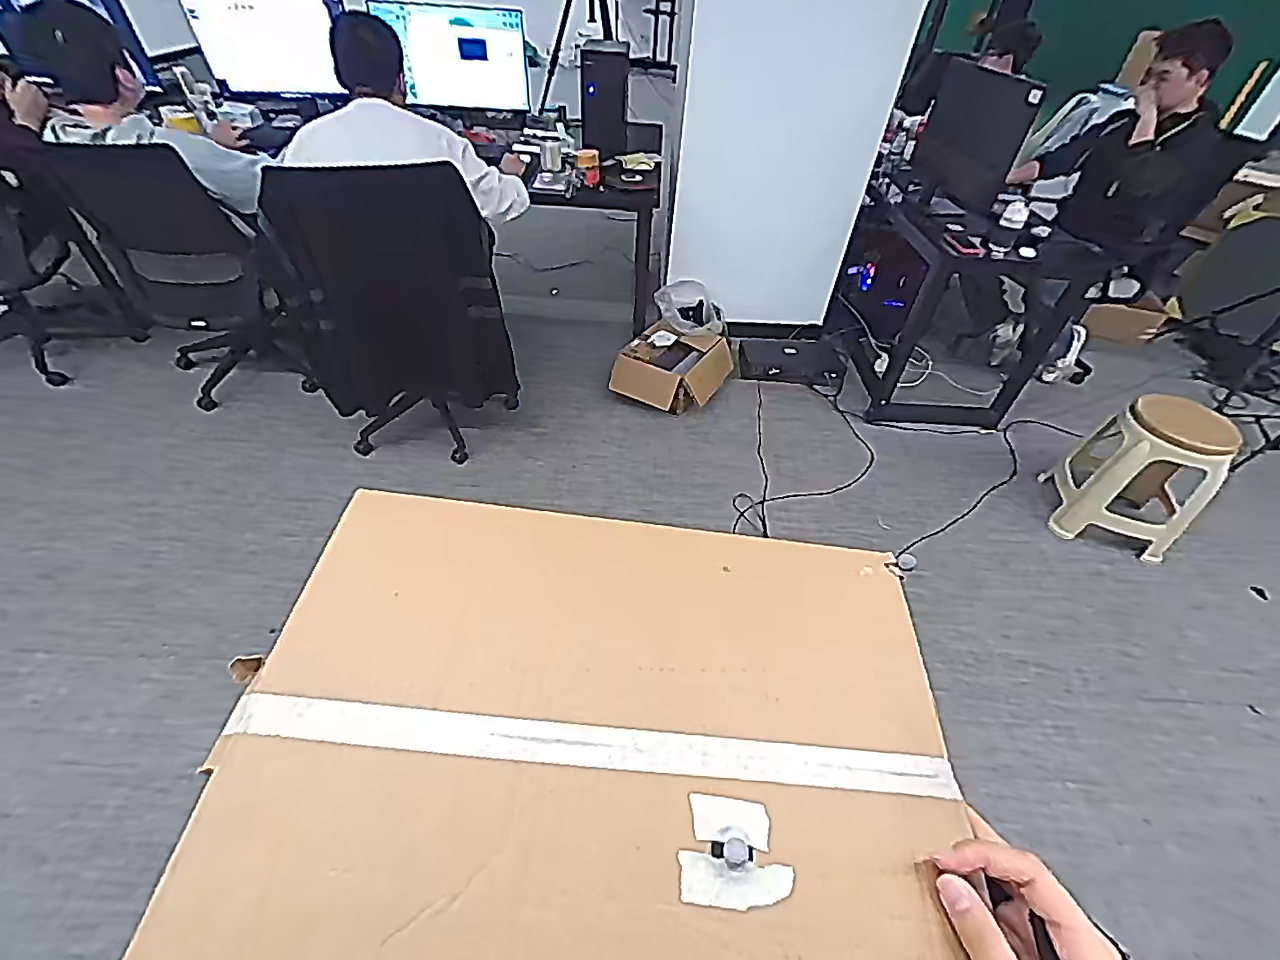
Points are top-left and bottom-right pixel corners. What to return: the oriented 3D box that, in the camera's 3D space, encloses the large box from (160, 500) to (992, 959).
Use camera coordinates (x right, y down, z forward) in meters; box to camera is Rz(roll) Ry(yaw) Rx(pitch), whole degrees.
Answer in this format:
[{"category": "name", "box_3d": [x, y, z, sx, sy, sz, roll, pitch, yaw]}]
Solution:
[{"category": "large box", "box_3d": [-0.032, 0.248, 0.433, 0.408, 0.320, 0.320, 8, 52, -4]}]
